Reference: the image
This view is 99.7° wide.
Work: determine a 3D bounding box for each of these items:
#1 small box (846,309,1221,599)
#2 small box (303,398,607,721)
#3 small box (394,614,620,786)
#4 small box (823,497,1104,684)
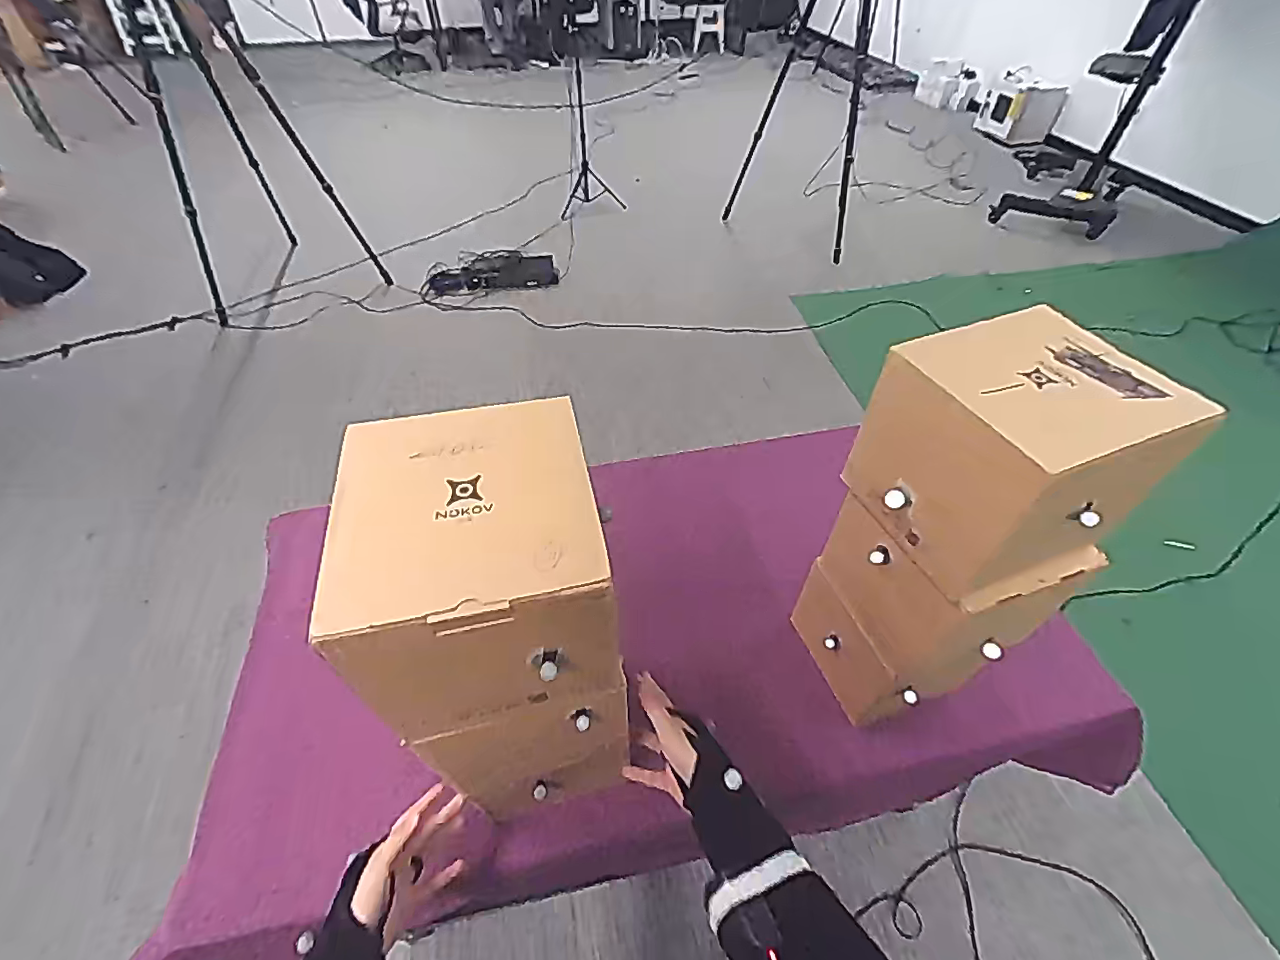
[{"bbox_3d":[0.317,-0.023,0.483,0.179,0.176,0.168,-16,49,-13],"label":"small box"},{"bbox_3d":[-0.119,0.064,0.412,0.168,0.176,0.179,-8,48,-9],"label":"small box"},{"bbox_3d":[-0.121,0.176,0.531,0.179,0.176,0.168,-10,49,-11],"label":"small box"},{"bbox_3d":[0.330,0.094,0.599,0.168,0.176,0.179,-14,49,-11],"label":"small box"}]
